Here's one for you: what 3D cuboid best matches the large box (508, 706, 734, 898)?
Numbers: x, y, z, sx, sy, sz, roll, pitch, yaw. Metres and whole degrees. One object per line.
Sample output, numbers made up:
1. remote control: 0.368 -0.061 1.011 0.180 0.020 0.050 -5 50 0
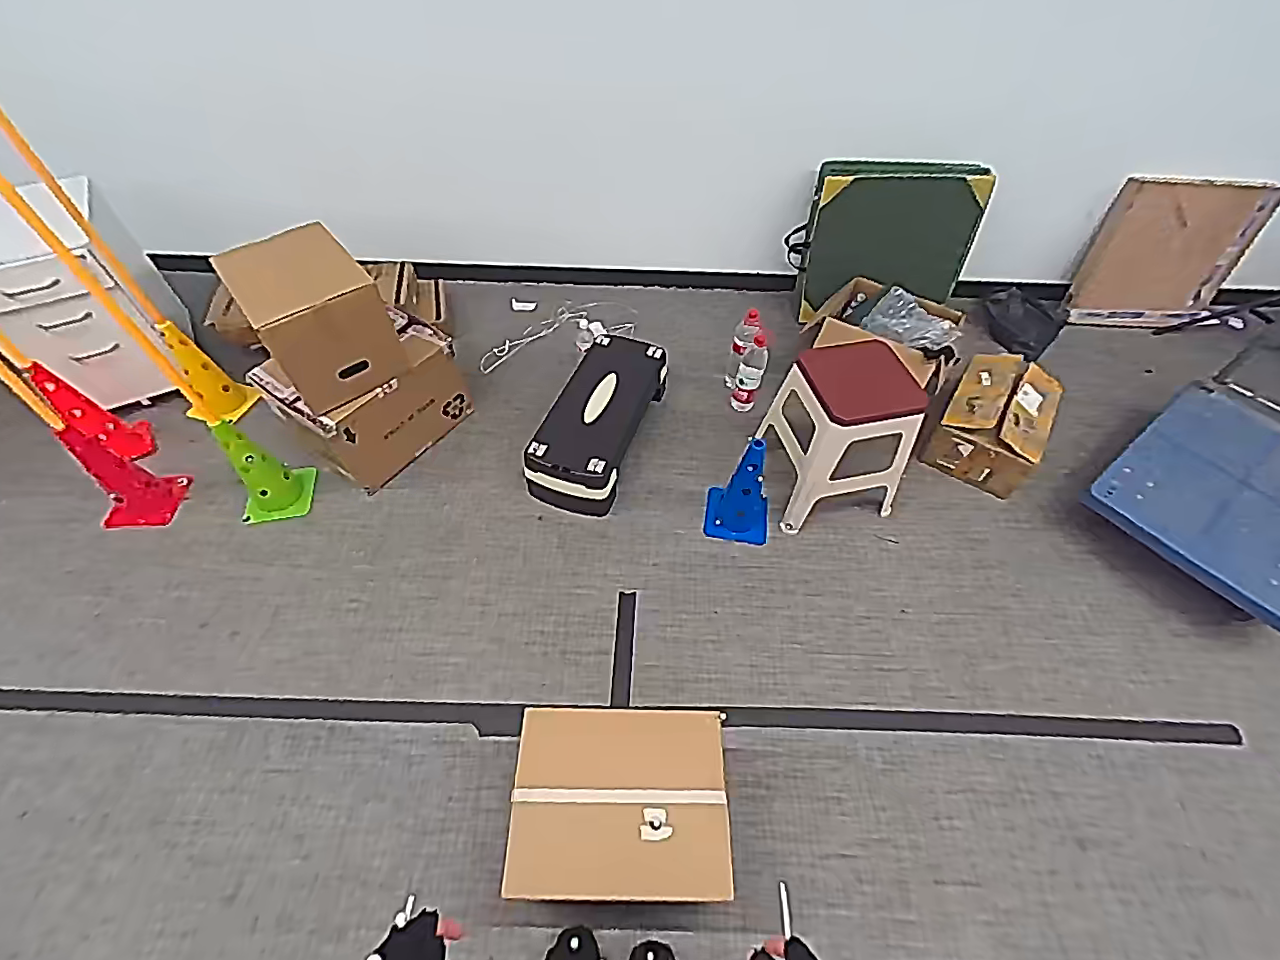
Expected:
1. large box: -0.040 0.684 1.142 0.408 0.320 0.320 2 53 -2
